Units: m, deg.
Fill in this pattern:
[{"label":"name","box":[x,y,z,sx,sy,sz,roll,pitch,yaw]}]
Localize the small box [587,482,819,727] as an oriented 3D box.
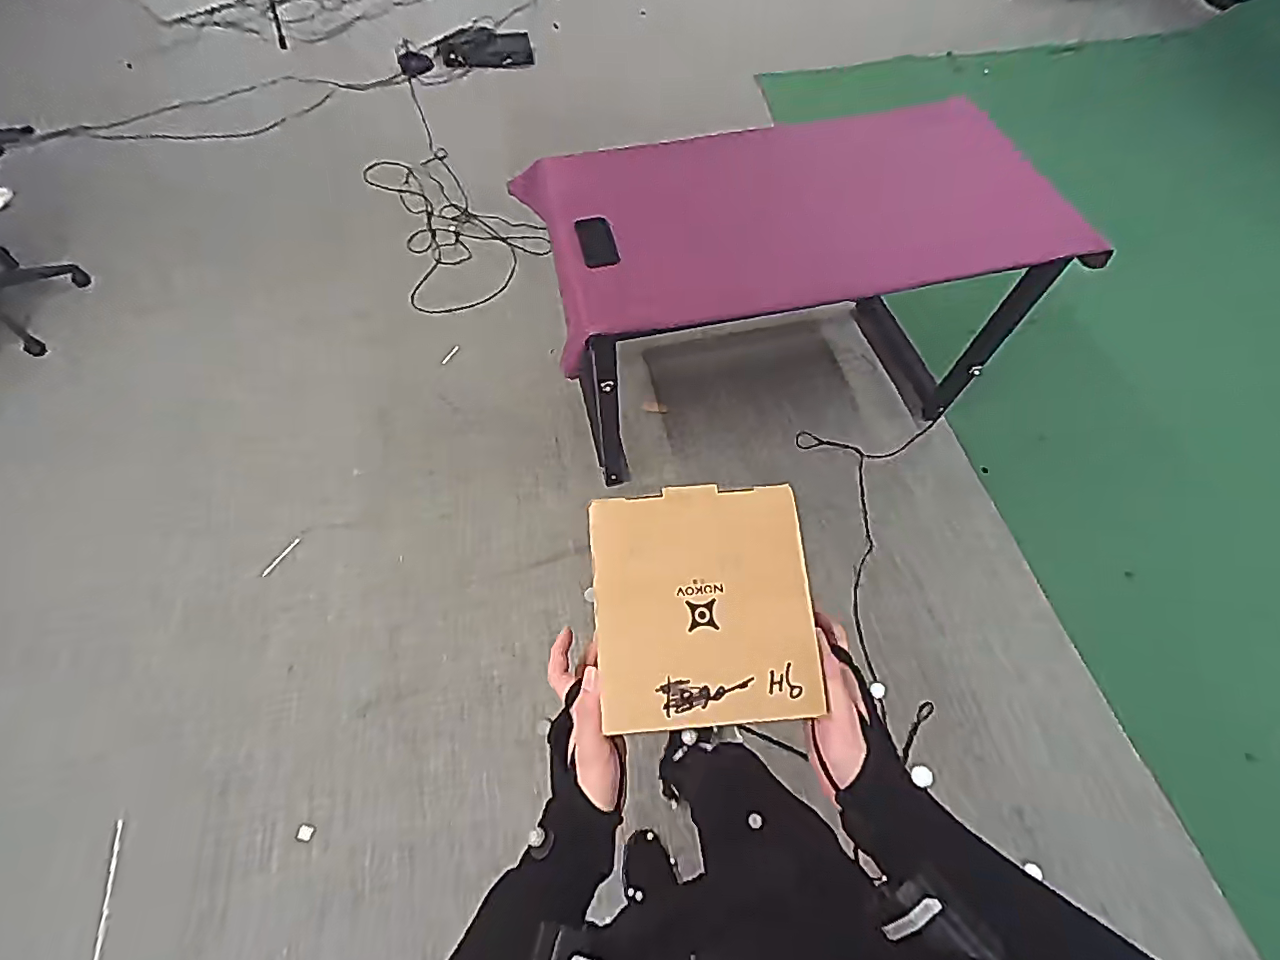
[{"label":"small box","box":[0.044,0.111,0.488,0.168,0.176,0.179,-5,75,0]}]
